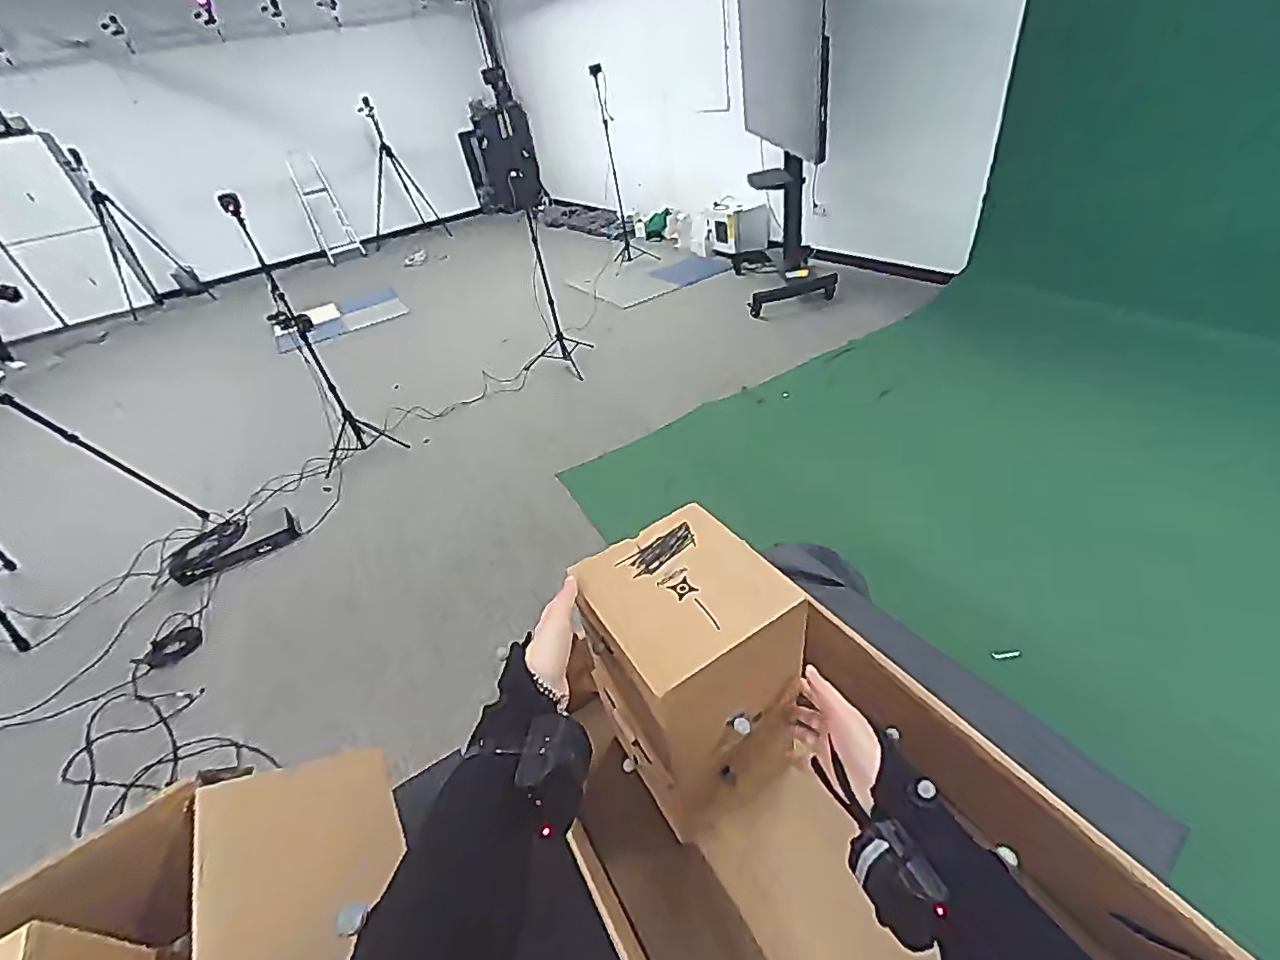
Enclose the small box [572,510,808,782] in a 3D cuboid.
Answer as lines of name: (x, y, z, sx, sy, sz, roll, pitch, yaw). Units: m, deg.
small box: (0.050, 0.169, 0.567, 0.168, 0.176, 0.179, -27, 42, -20)
